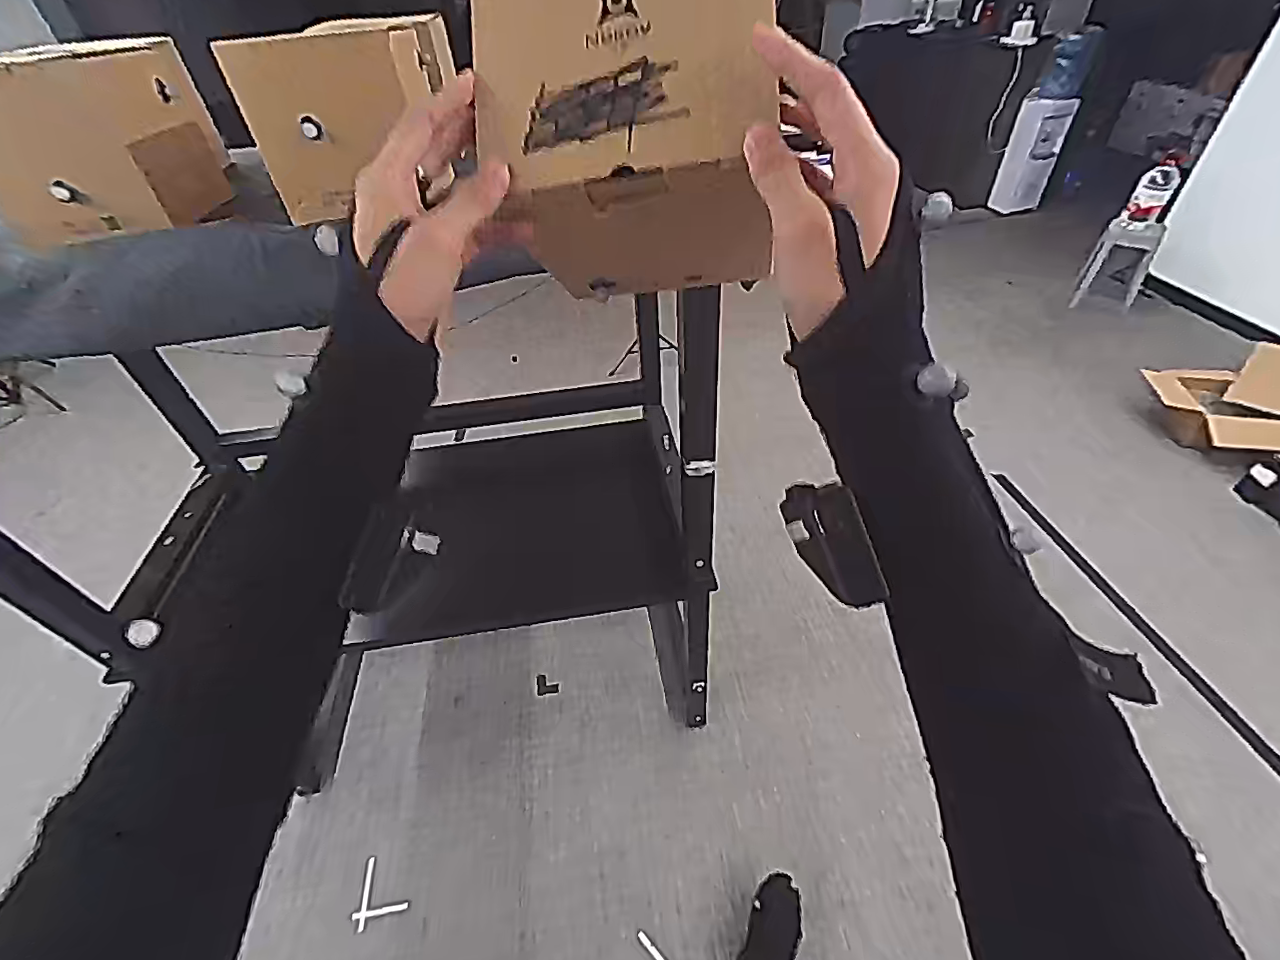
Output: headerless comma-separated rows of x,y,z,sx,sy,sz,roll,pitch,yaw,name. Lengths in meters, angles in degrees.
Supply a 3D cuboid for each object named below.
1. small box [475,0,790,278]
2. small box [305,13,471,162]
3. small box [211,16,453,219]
0.008,-0.247,0.354,0.168,0.176,0.179,-2,87,11,small box
-0.364,-0.593,0.822,0.168,0.176,0.179,-9,42,-4,small box
-0.325,-0.410,0.618,0.168,0.176,0.179,-9,40,-5,small box
